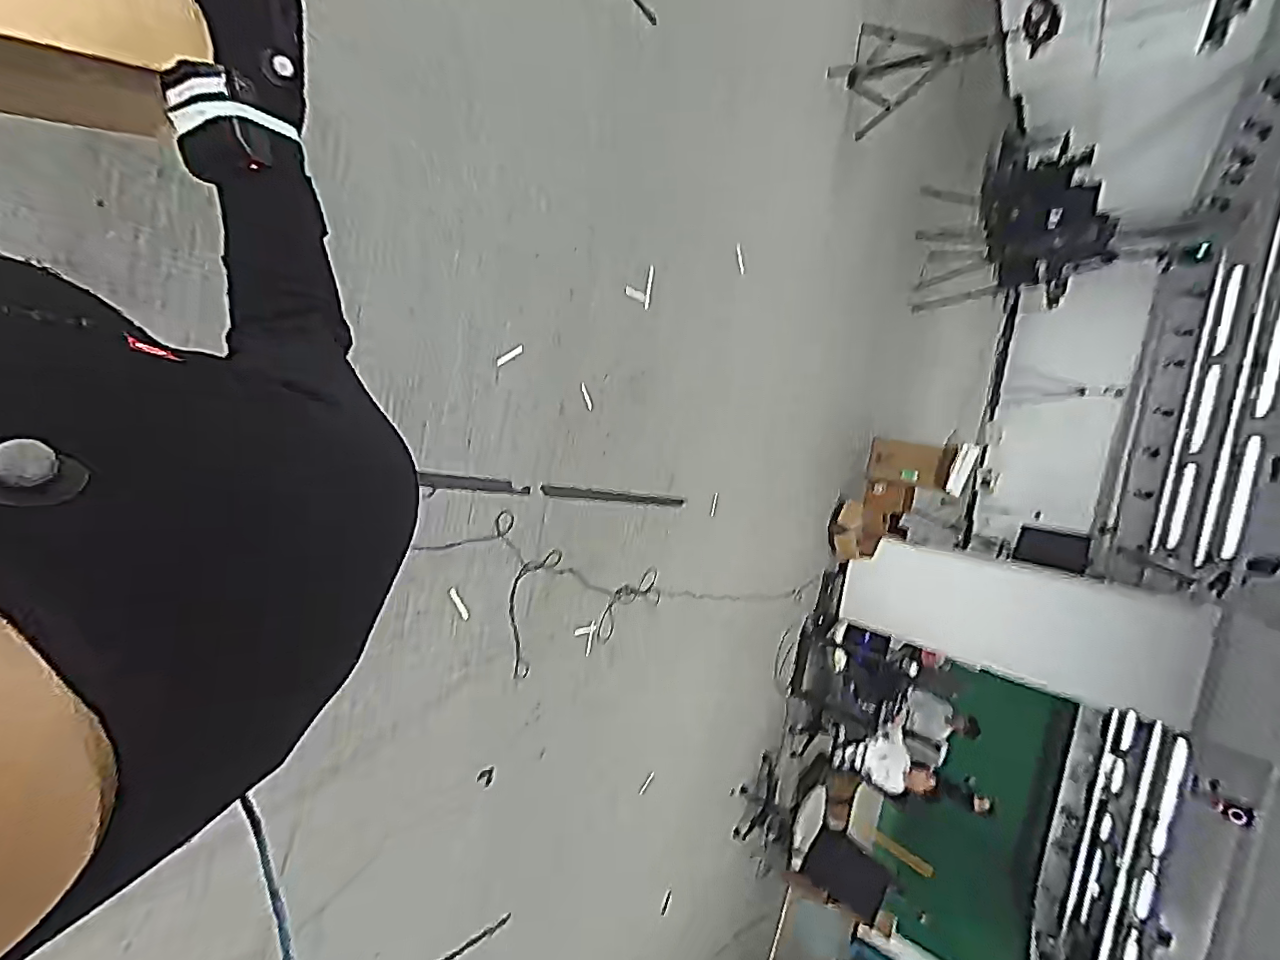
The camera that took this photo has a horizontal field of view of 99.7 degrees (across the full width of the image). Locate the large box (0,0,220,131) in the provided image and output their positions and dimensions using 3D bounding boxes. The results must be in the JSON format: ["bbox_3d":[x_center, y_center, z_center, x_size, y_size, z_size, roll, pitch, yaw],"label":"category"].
[{"bbox_3d":[-0.552,-0.438,0.310,0.408,0.320,0.320,-17,120,-45],"label":"large box"}]
